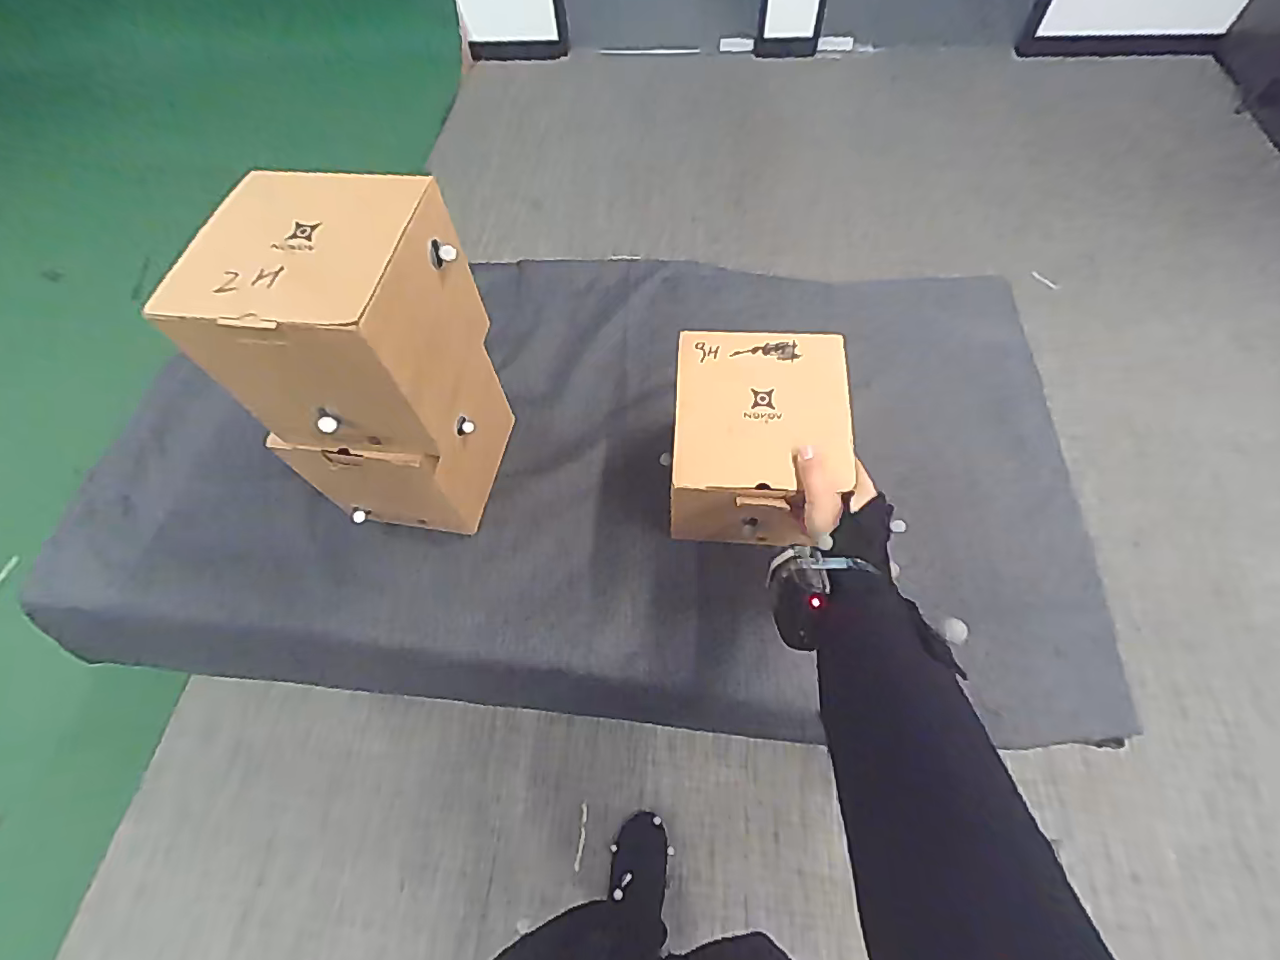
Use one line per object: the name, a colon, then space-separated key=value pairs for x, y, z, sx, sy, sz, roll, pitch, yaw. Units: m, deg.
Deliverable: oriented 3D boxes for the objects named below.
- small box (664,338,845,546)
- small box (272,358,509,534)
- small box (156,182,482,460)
small box: x=0.115 y=-0.032 z=0.594 sx=0.168 sy=0.176 sz=0.179 roll=3 pitch=67 yaw=4
small box: x=-0.269 y=-0.052 z=0.635 sx=0.168 sy=0.176 sz=0.179 roll=7 pitch=60 yaw=7
small box: x=-0.259 y=-0.140 z=0.495 sx=0.168 sy=0.176 sz=0.179 roll=4 pitch=60 yaw=6
